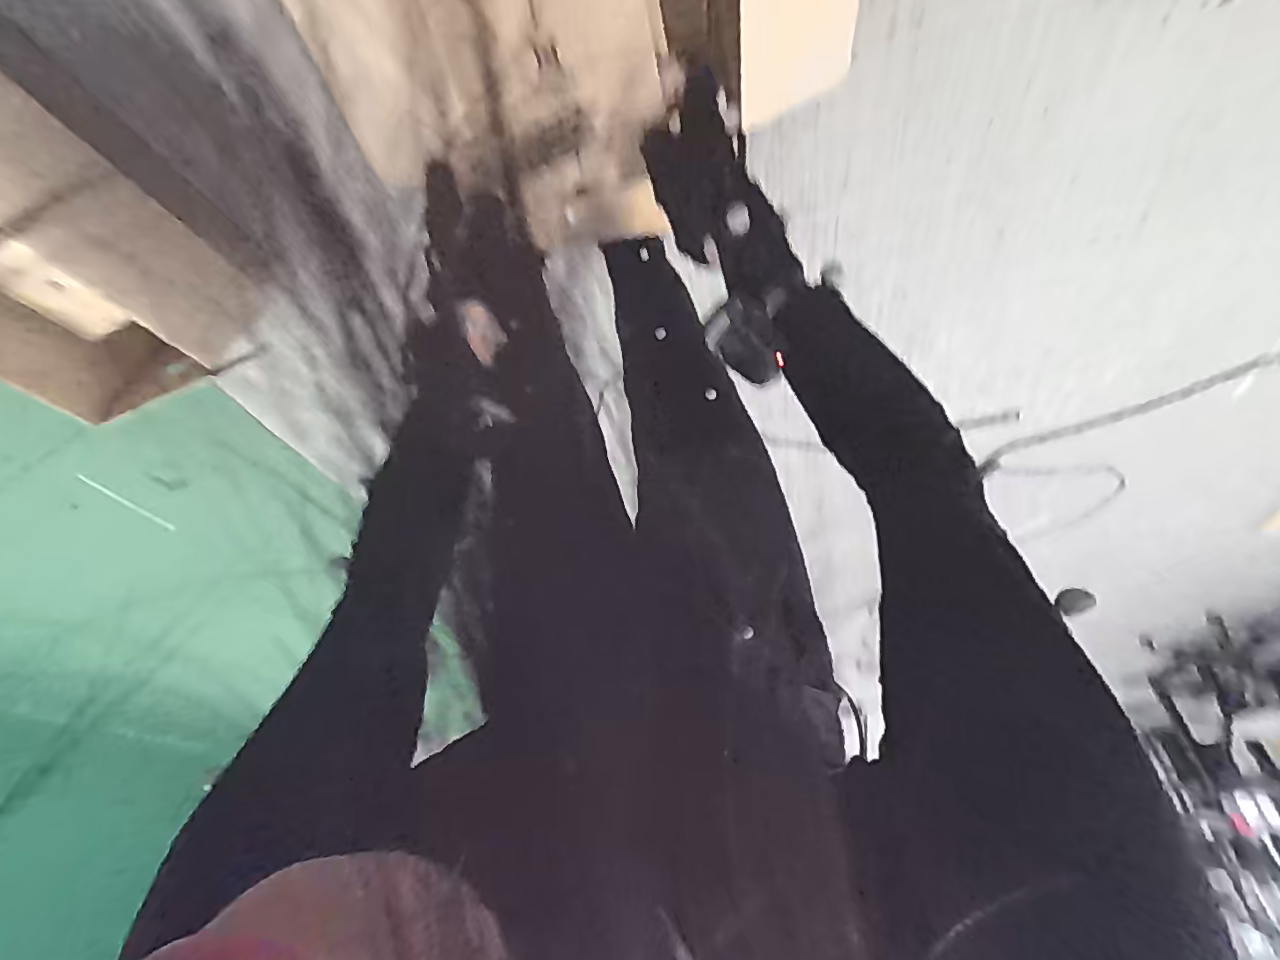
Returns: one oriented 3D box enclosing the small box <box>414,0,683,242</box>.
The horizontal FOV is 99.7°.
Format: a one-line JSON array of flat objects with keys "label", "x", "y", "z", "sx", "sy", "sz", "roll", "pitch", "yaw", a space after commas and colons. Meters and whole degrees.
[{"label": "small box", "x": -0.060, "y": -0.331, "z": 0.488, "sx": 0.168, "sy": 0.176, "sz": 0.179, "roll": -9, "pitch": 115, "yaw": 13}]
